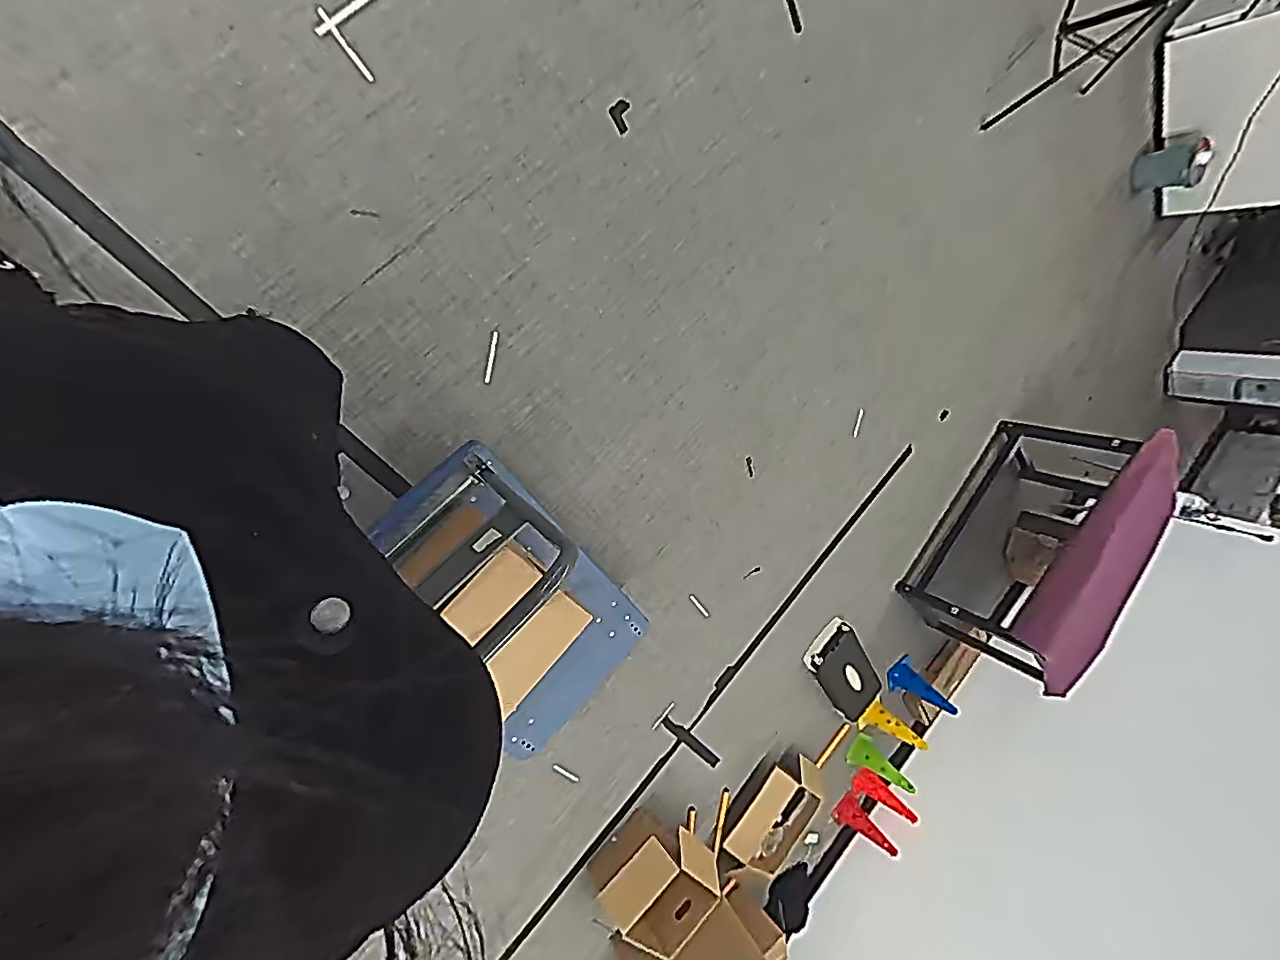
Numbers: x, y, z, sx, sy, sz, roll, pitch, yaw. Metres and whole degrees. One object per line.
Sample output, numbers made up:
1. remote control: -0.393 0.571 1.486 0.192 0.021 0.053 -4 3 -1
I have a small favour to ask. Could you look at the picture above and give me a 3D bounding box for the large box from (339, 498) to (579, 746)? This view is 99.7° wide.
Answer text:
1. large box: -0.428 0.318 1.280 0.408 0.320 0.320 -48 124 -10
